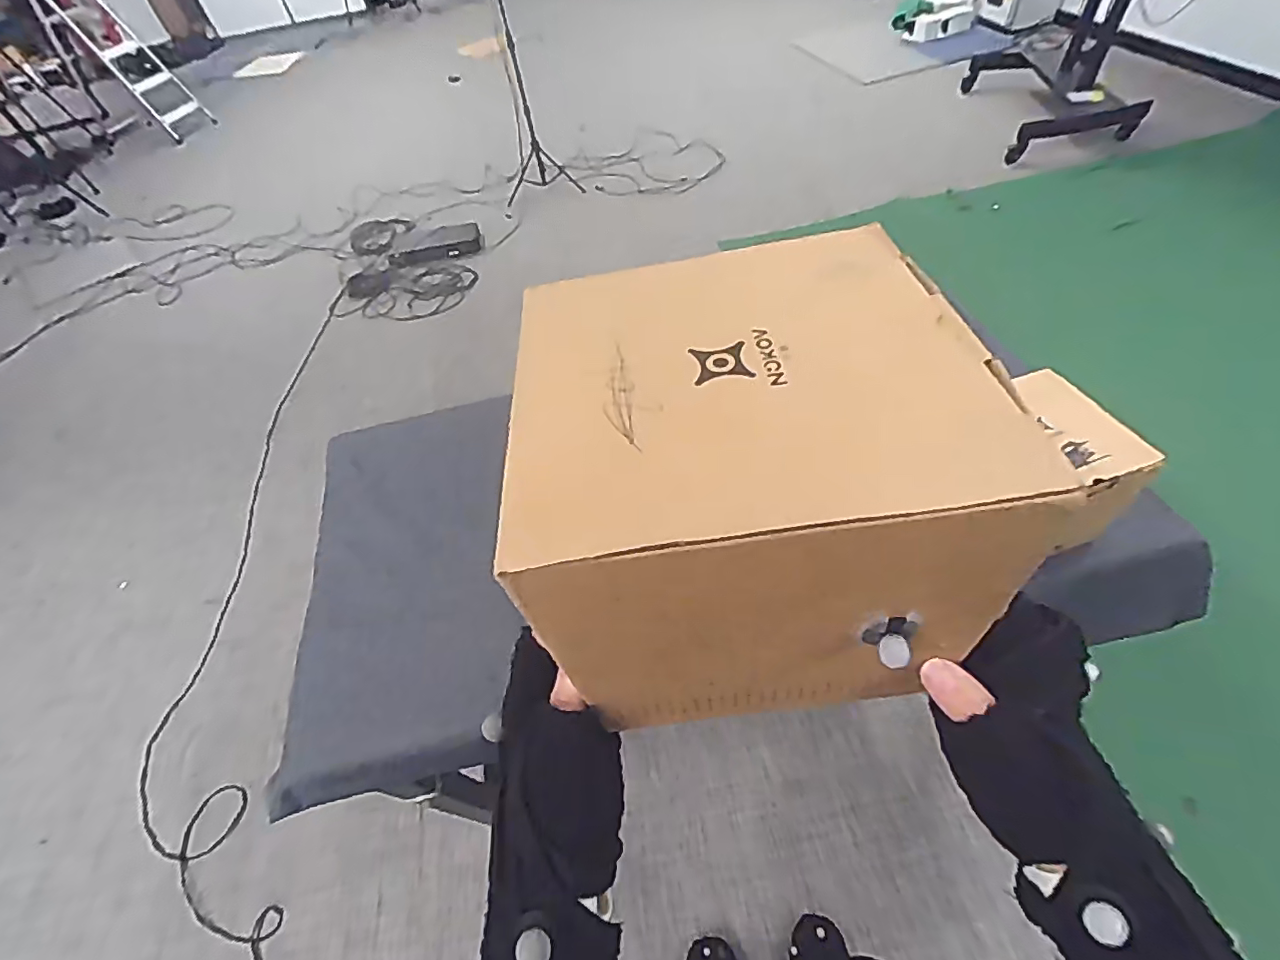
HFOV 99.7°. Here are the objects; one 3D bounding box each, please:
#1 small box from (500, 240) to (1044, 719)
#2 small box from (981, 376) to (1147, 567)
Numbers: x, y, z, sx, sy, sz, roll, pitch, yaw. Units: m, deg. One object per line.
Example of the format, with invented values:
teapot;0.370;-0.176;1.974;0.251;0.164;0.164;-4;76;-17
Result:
small box;0.046;0.008;0.281;0.179;0.176;0.168;-10;48;4
small box;0.486;-0.002;0.718;0.168;0.176;0.179;-17;50;-5
